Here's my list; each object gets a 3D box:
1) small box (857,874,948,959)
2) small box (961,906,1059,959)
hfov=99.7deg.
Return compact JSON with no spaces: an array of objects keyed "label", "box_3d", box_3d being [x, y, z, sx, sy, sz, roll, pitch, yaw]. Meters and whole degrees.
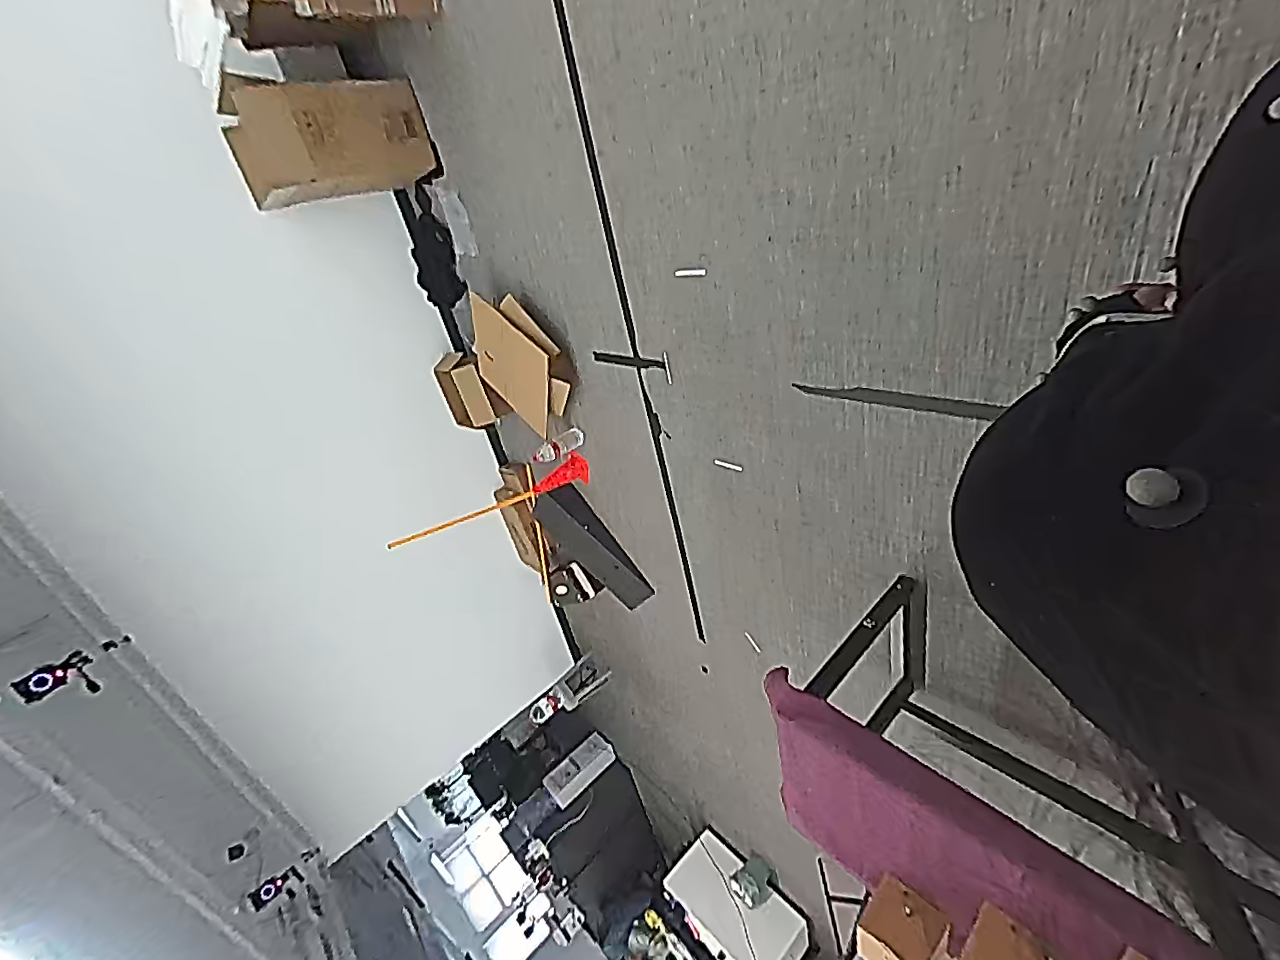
[{"label":"small box","box_3d":[0.693,1.209,1.429,0.168,0.176,0.179,19,131,46]},{"label":"small box","box_3d":[0.799,1.085,1.170,0.168,0.176,0.179,21,134,46]}]
